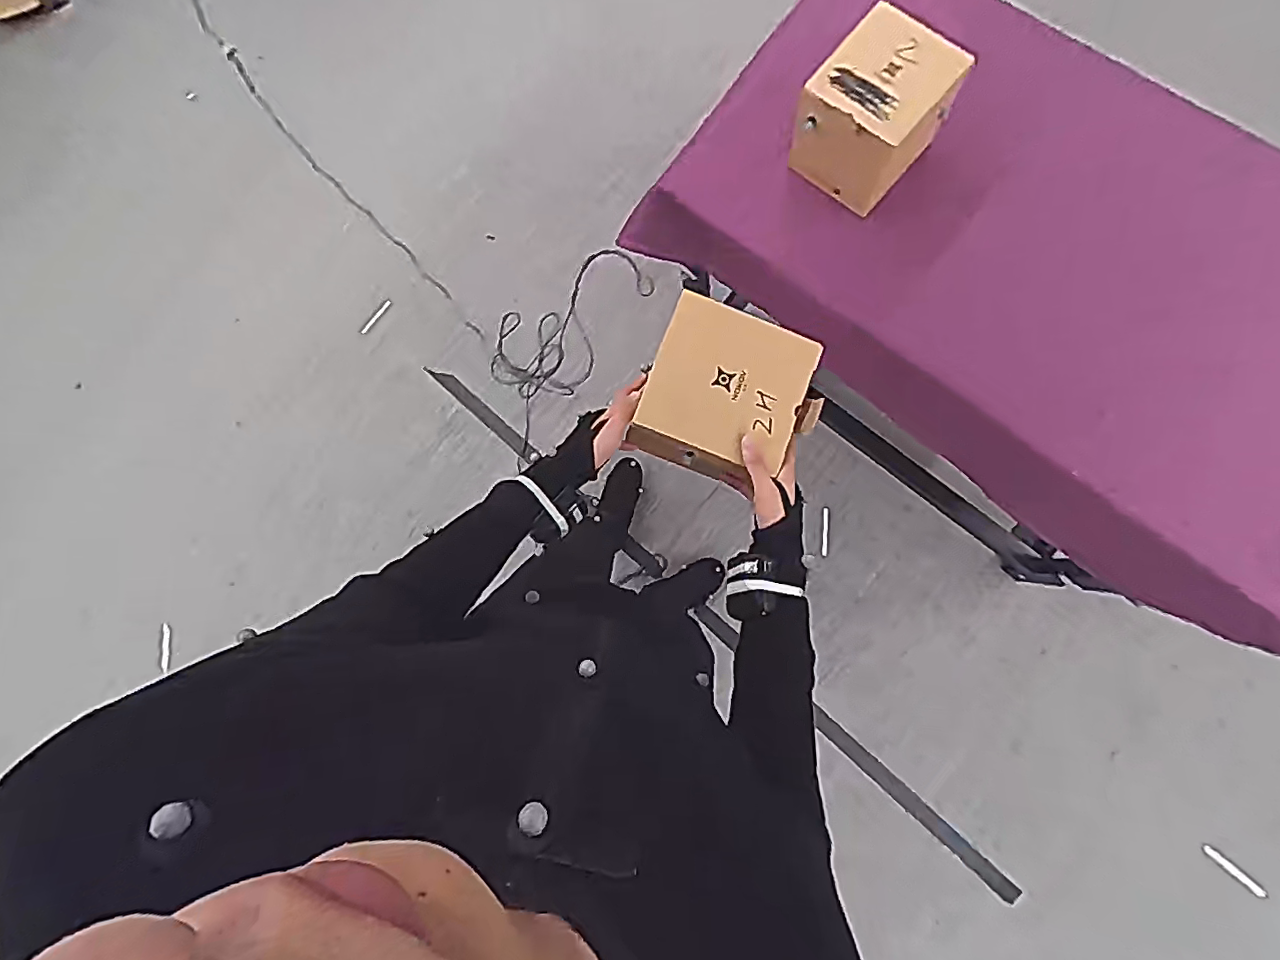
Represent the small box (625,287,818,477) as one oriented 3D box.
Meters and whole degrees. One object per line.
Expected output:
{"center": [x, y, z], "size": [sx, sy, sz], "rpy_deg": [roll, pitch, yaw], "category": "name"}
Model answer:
{"center": [0.089, -0.108, 0.686], "size": [0.179, 0.176, 0.168], "rpy_deg": [21, 85, -4], "category": "small box"}
